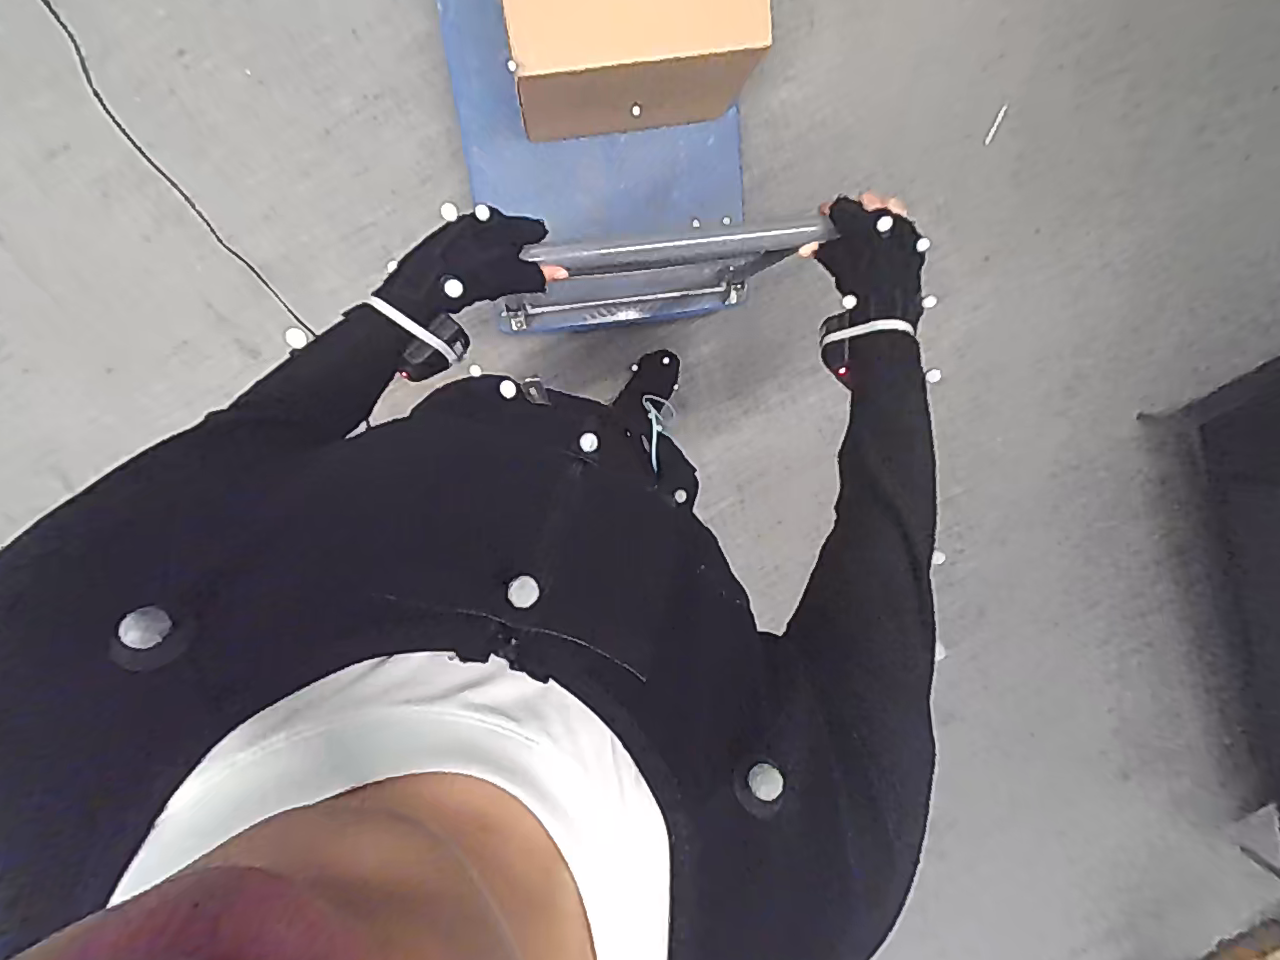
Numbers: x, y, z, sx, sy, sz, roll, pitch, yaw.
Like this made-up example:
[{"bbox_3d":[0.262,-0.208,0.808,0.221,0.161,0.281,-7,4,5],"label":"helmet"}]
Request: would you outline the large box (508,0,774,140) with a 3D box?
[{"bbox_3d":[-0.023,-0.834,0.939,0.408,0.320,0.320,-11,106,-4],"label":"large box"}]
